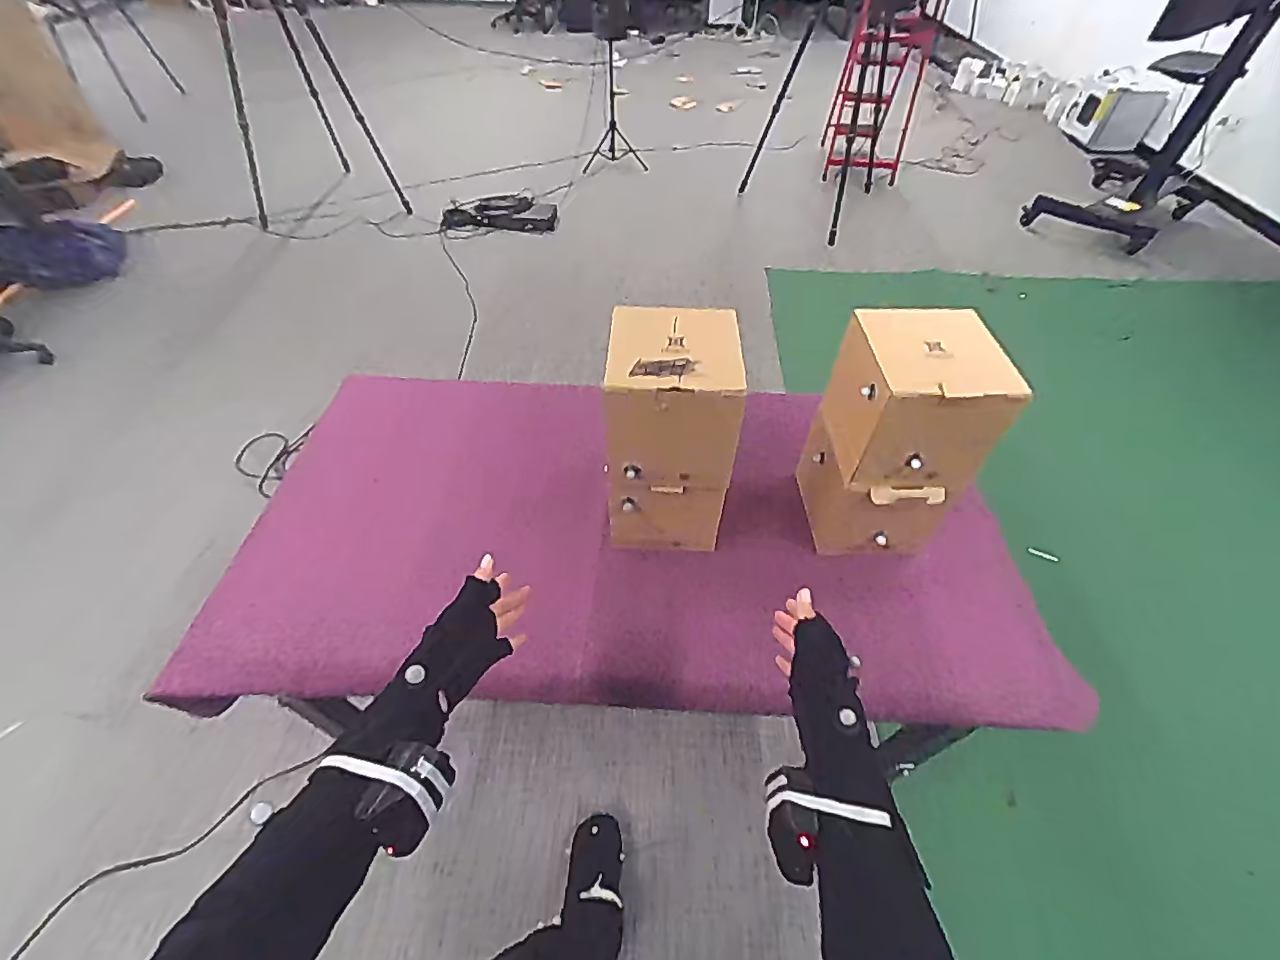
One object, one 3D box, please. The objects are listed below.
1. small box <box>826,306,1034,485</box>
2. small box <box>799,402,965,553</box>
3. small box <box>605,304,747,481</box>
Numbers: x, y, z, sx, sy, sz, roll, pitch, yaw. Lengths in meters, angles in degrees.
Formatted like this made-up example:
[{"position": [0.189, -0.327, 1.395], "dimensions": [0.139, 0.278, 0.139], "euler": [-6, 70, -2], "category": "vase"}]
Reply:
[{"position": [0.368, -0.112, 0.731], "dimensions": [0.168, 0.176, 0.179], "euler": [0, 51, -1], "category": "small box"}, {"position": [0.362, -0.004, 0.854], "dimensions": [0.168, 0.176, 0.179], "euler": [-1, 50, -1], "category": "small box"}, {"position": [0.044, -0.114, 0.723], "dimensions": [0.168, 0.176, 0.179], "euler": [2, 49, 0], "category": "small box"}]
